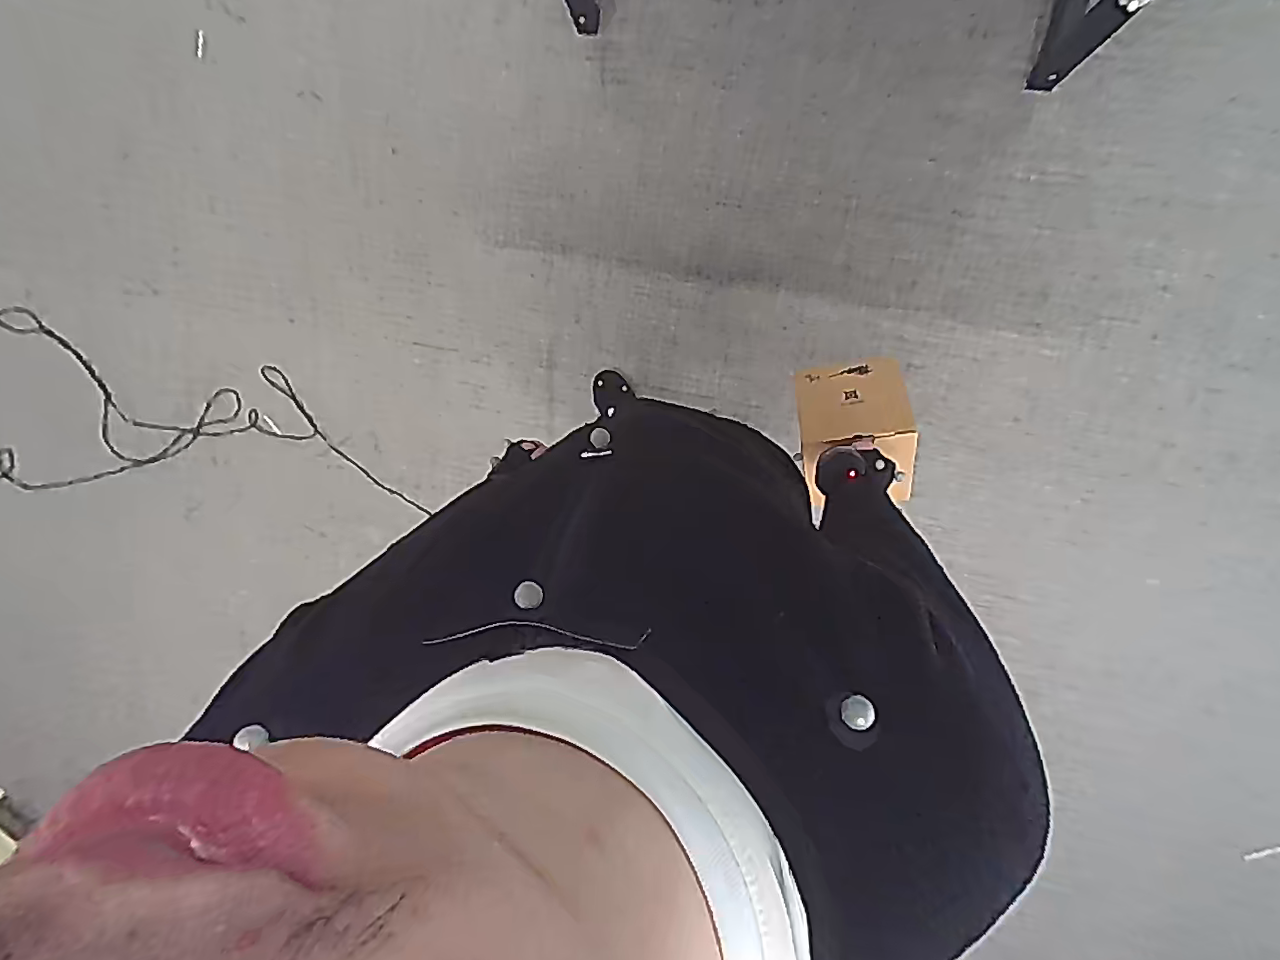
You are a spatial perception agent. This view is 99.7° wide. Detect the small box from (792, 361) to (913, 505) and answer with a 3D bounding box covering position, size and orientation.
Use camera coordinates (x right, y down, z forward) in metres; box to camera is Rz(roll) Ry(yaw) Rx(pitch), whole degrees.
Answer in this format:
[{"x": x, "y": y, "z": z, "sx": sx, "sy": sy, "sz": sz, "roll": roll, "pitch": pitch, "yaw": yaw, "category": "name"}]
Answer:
[{"x": 0.360, "y": -0.070, "z": 0.924, "sx": 0.168, "sy": 0.179, "sz": 0.176, "roll": -8, "pitch": 140, "yaw": 17, "category": "small box"}]
